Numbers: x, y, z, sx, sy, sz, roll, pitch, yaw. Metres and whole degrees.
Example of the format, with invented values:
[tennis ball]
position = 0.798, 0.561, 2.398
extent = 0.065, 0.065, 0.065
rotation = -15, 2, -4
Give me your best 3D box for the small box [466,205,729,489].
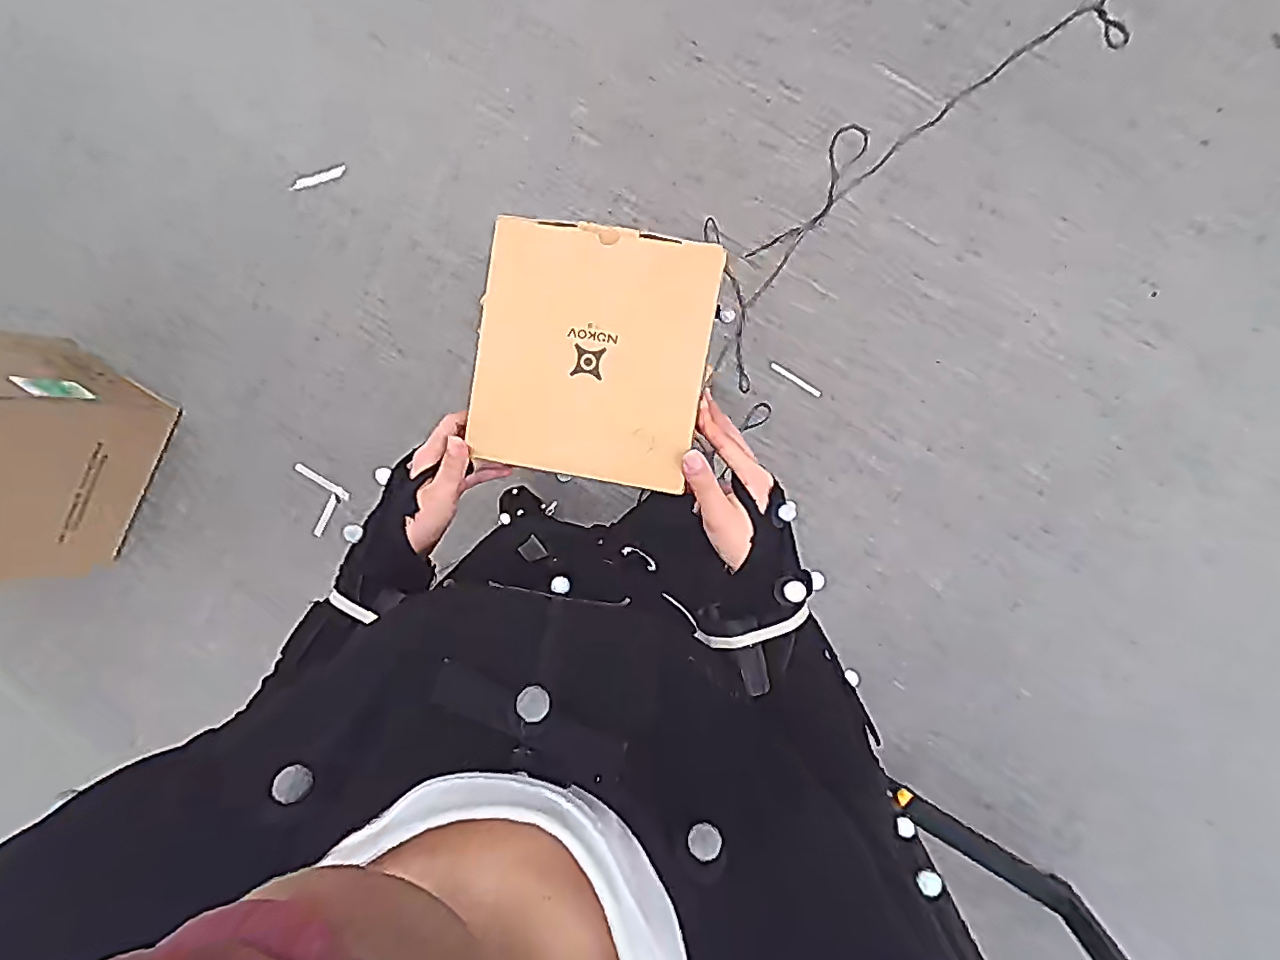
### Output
[small box]
position = -0.024, -0.097, 0.452
extent = 0.168, 0.176, 0.179
rotation = 10, 95, 5
